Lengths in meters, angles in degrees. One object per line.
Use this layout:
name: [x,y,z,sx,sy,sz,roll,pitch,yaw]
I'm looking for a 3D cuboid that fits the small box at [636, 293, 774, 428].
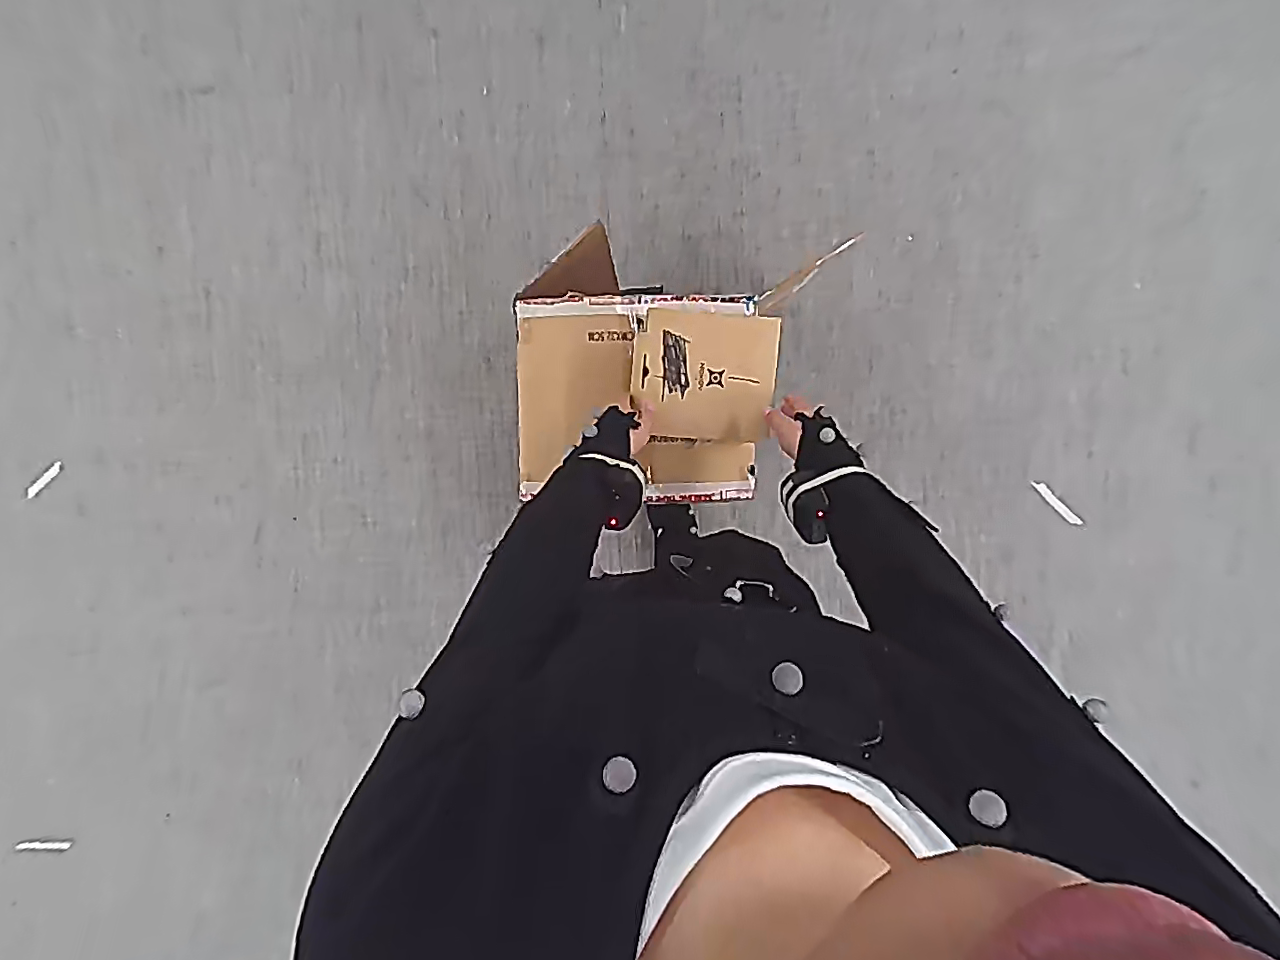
small box: [0.086,-0.164,0.793,0.179,0.176,0.168,3,93,-1]
